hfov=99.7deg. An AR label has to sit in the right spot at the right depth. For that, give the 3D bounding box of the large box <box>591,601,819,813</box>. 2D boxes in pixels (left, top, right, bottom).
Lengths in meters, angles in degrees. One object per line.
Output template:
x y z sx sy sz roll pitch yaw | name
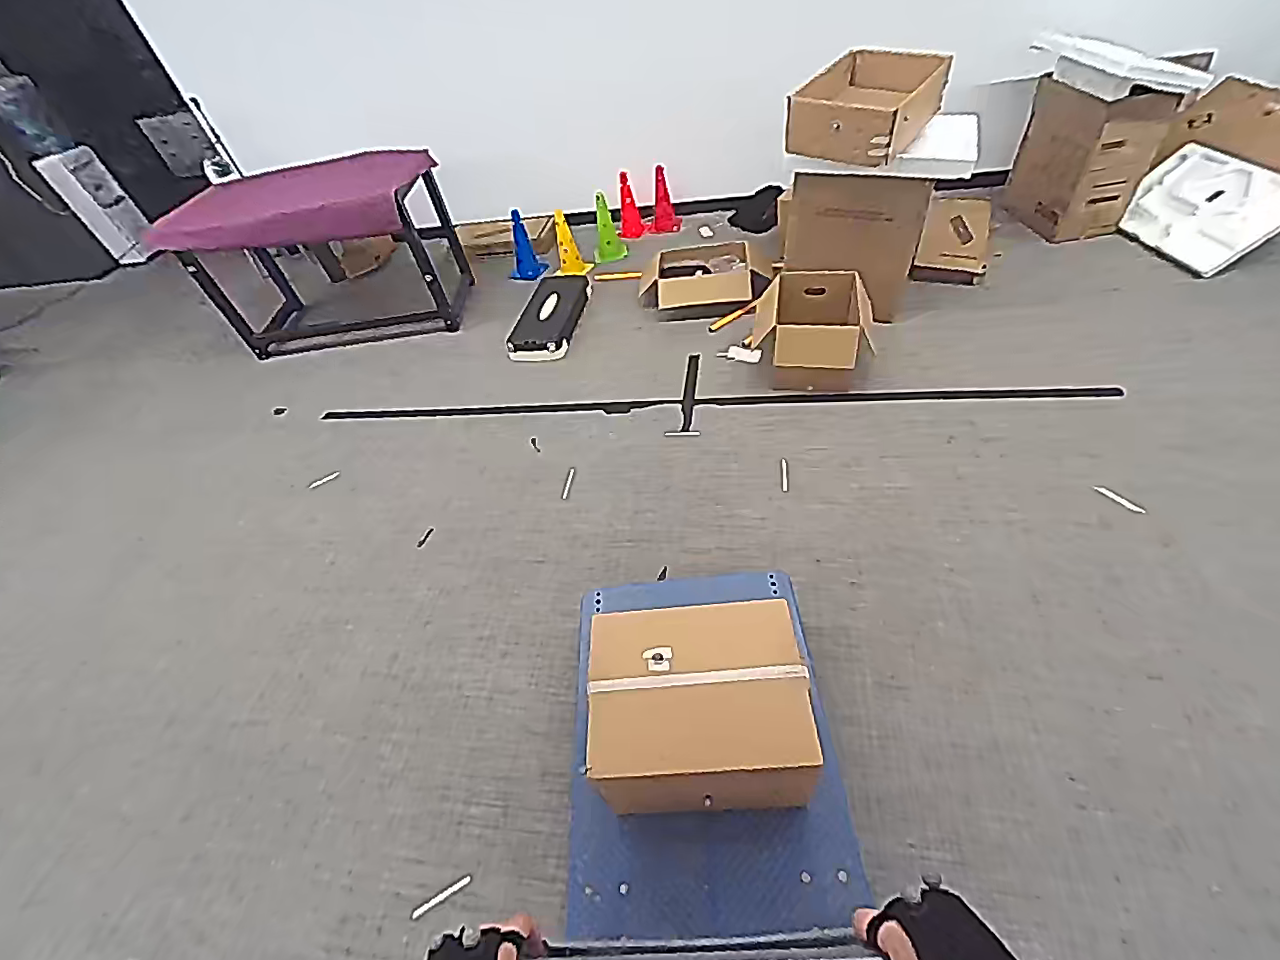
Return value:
0.127 0.487 1.142 0.408 0.320 0.320 -7 47 5 | large box
